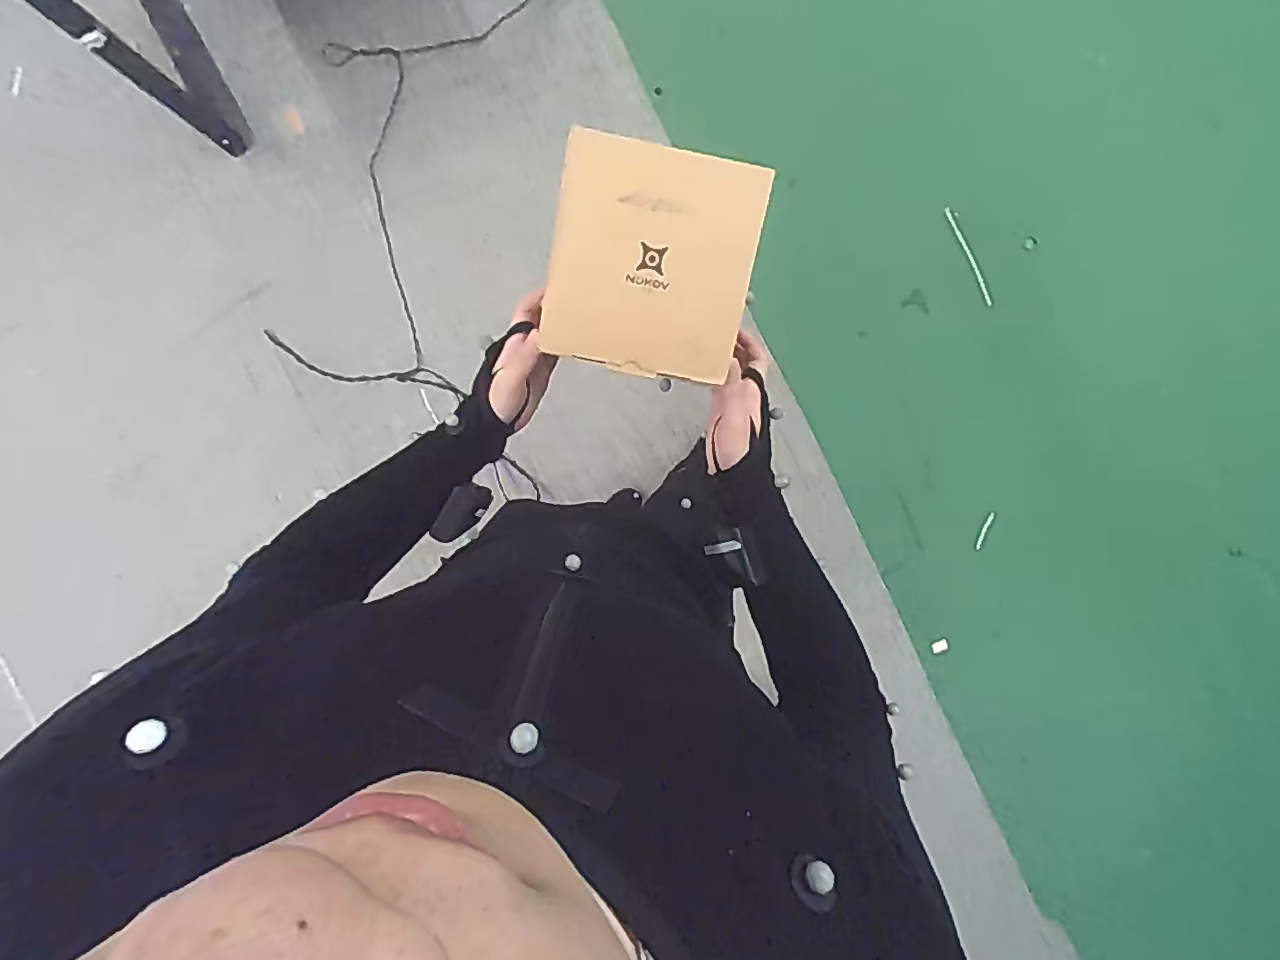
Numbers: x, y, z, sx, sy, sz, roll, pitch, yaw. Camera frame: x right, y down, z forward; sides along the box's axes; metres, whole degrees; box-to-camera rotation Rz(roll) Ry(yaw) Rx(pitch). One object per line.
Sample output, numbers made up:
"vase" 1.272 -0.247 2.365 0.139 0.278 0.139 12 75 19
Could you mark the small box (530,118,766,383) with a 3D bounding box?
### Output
"small box" 0.004 -0.198 0.514 0.168 0.176 0.179 11 102 -3
